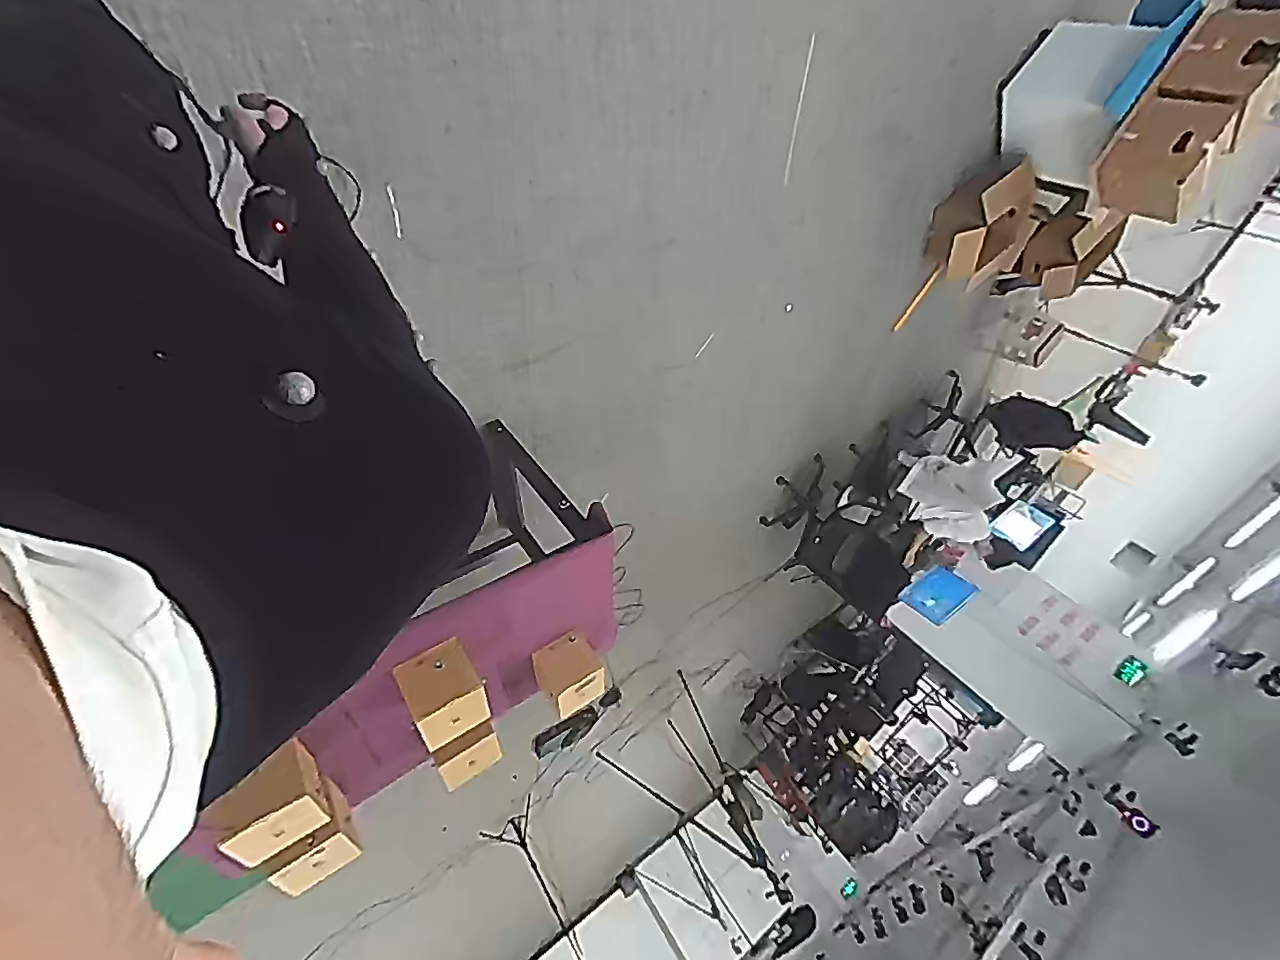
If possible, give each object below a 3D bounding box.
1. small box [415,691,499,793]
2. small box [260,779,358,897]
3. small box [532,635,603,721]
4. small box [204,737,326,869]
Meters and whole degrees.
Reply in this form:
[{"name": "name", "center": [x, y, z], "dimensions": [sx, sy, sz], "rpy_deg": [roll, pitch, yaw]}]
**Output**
[{"name": "small box", "center": [-0.524, 0.747, 1.555], "dimensions": [0.168, 0.176, 0.179], "rpy_deg": [-24, 138, -29]}, {"name": "small box", "center": [-0.847, 0.904, 1.374], "dimensions": [0.168, 0.176, 0.179], "rpy_deg": [-25, 139, -28]}, {"name": "small box", "center": [-0.233, 0.621, 1.723], "dimensions": [0.168, 0.176, 0.179], "rpy_deg": [-24, 139, -27]}, {"name": "small box", "center": [-0.828, 0.709, 1.199], "dimensions": [0.168, 0.176, 0.179], "rpy_deg": [-24, 140, -30]}]
